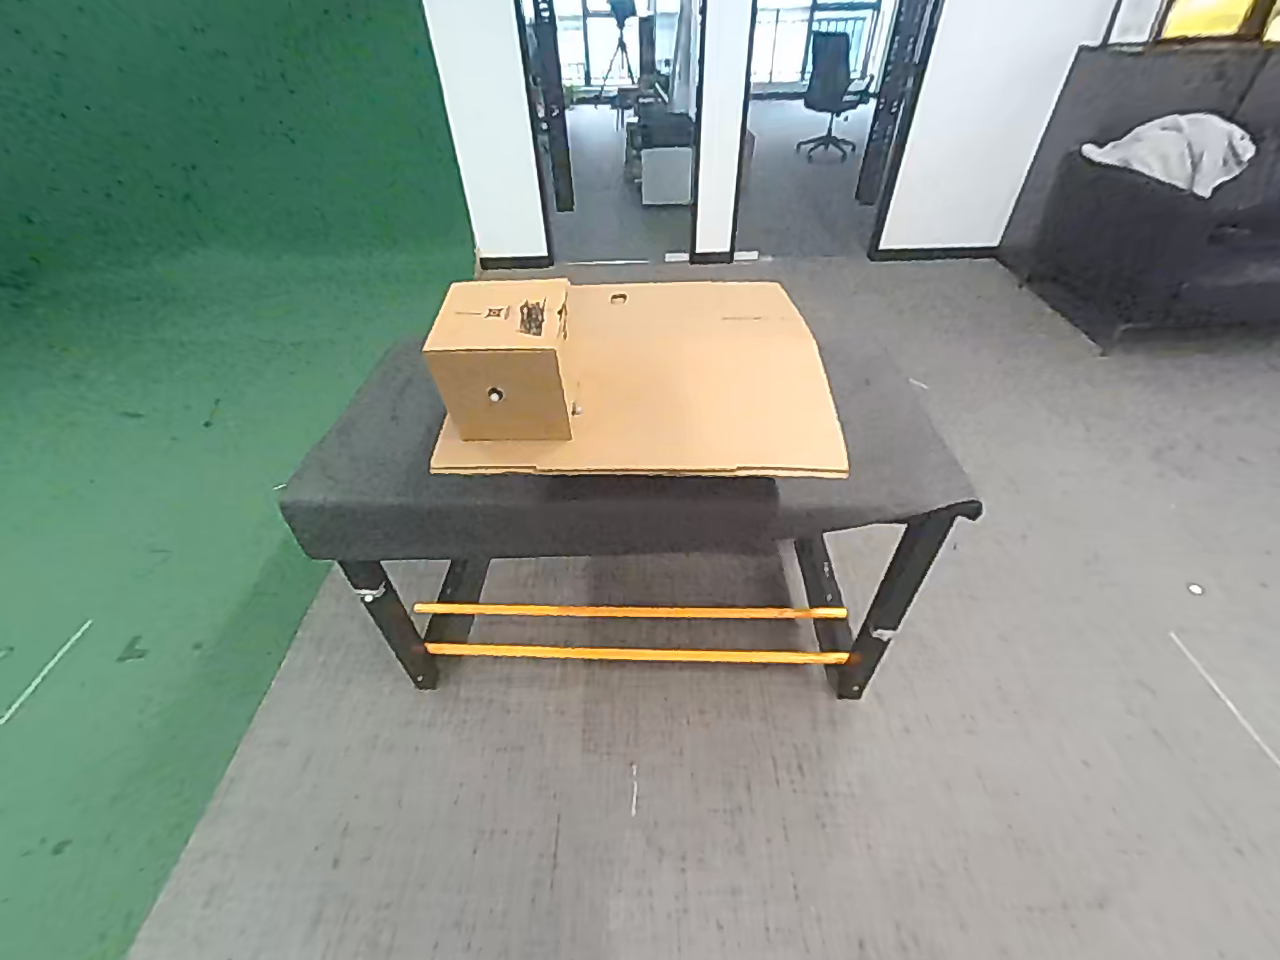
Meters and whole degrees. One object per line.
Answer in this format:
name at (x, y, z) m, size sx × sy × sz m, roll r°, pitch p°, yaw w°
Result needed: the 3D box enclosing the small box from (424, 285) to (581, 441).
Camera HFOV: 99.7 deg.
small box at (-0.188, -0.170, 0.807) m, size 0.179 × 0.176 × 0.168 m, roll -1°, pitch 50°, yaw 3°
